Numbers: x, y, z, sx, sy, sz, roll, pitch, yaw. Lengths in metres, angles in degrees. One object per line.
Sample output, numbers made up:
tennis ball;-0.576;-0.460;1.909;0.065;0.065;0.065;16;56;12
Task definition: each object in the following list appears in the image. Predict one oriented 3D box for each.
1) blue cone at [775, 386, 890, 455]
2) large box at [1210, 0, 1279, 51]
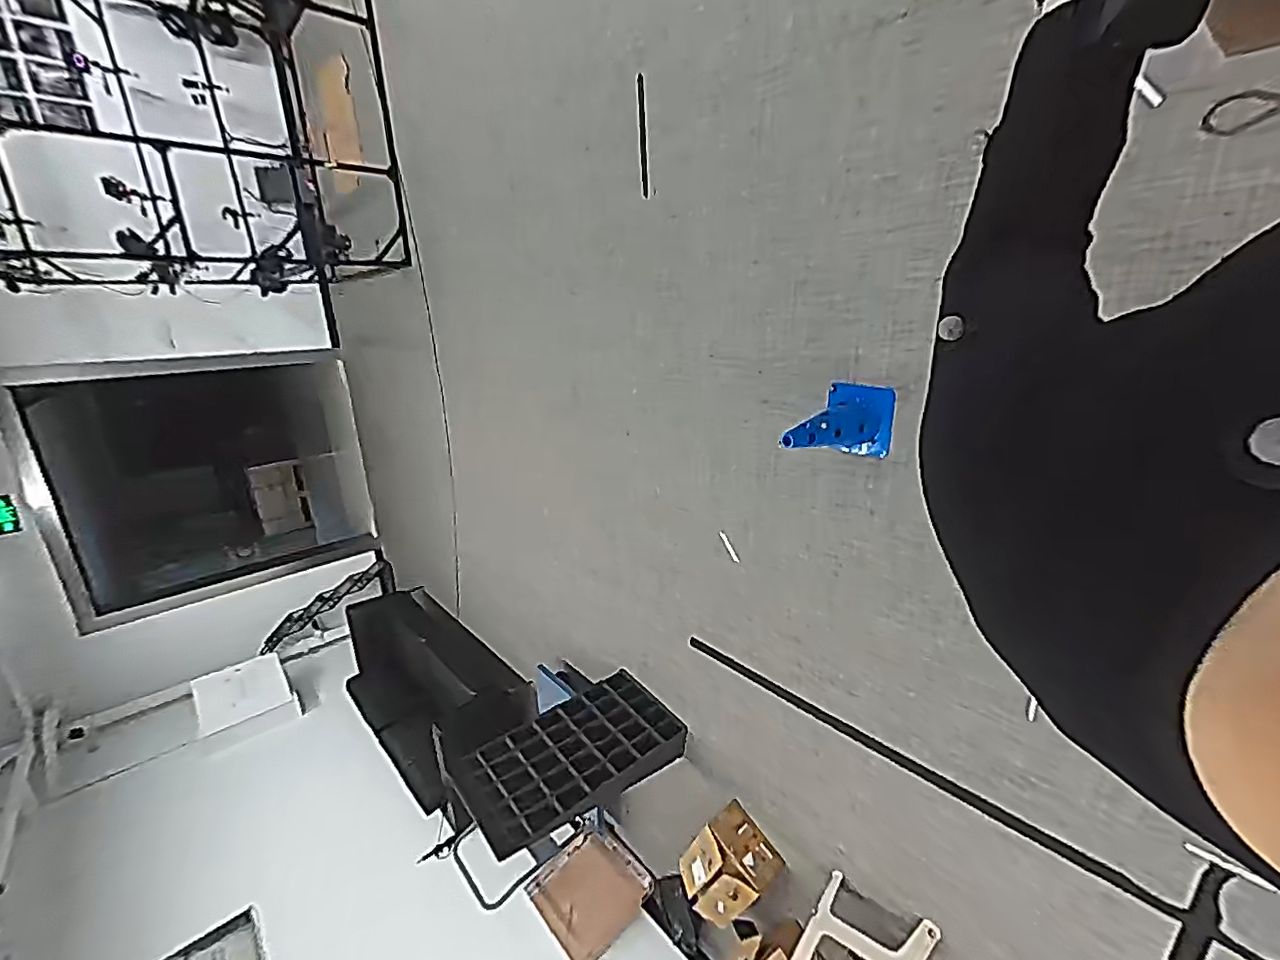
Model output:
blue cone;0.507;-0.139;1.481;0.192;0.380;0.193;22;119;46
large box;0.546;-0.453;0.216;0.408;0.320;0.320;16;120;45
